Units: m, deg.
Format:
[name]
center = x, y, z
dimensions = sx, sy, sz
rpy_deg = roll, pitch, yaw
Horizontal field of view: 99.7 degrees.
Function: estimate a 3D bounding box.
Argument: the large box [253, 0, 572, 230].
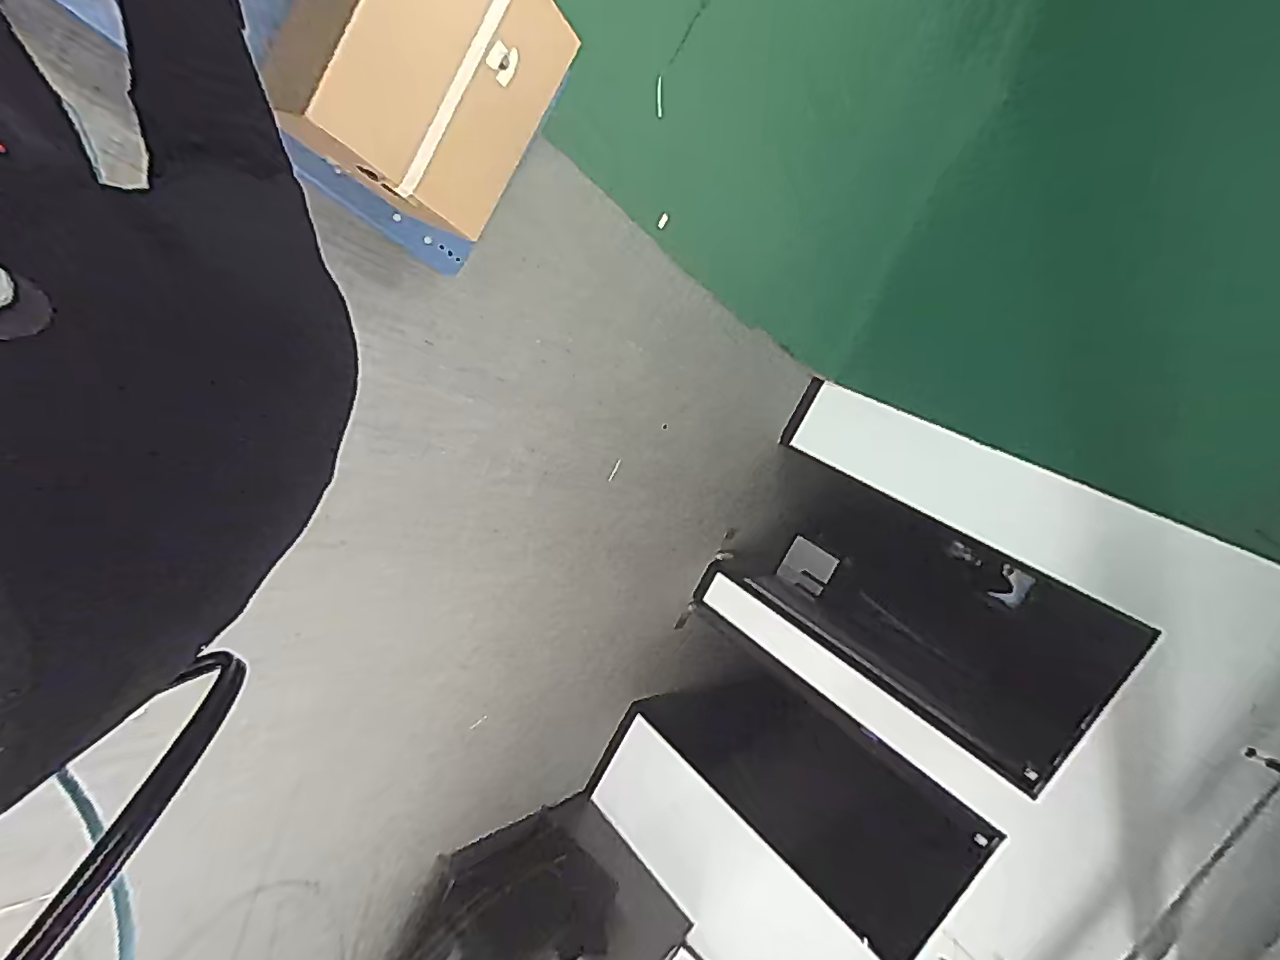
[large box]
center = -0.398, -0.729, 0.950
dimensions = 0.320, 0.320, 0.408
rpy_deg = 22, 99, -56
